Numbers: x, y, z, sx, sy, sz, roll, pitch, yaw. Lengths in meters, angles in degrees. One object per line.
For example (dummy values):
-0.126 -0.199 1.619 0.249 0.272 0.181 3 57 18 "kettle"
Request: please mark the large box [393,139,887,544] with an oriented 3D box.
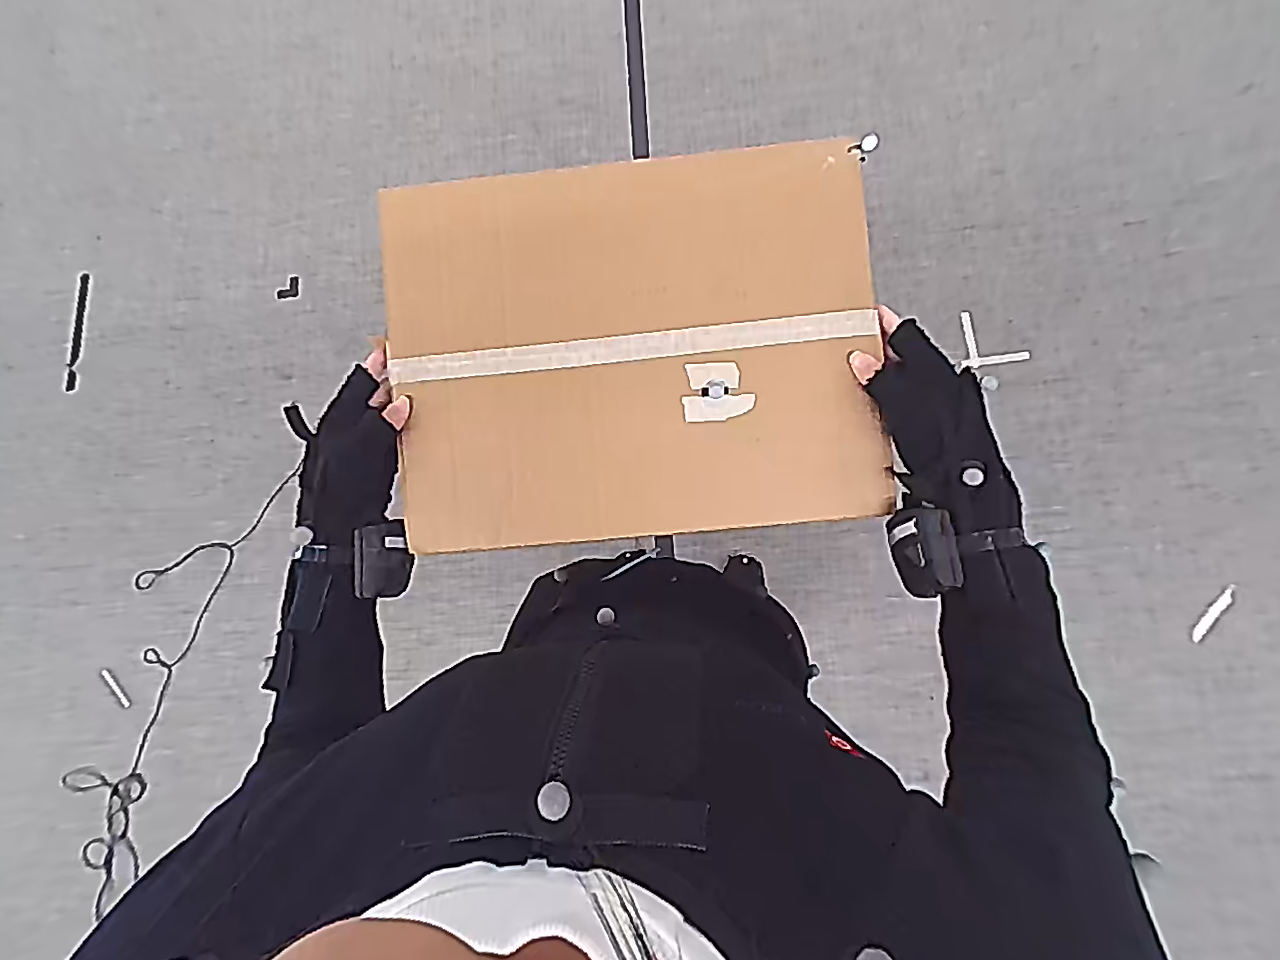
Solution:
-0.001 -0.115 0.610 0.408 0.320 0.320 -6 90 1 "large box"
